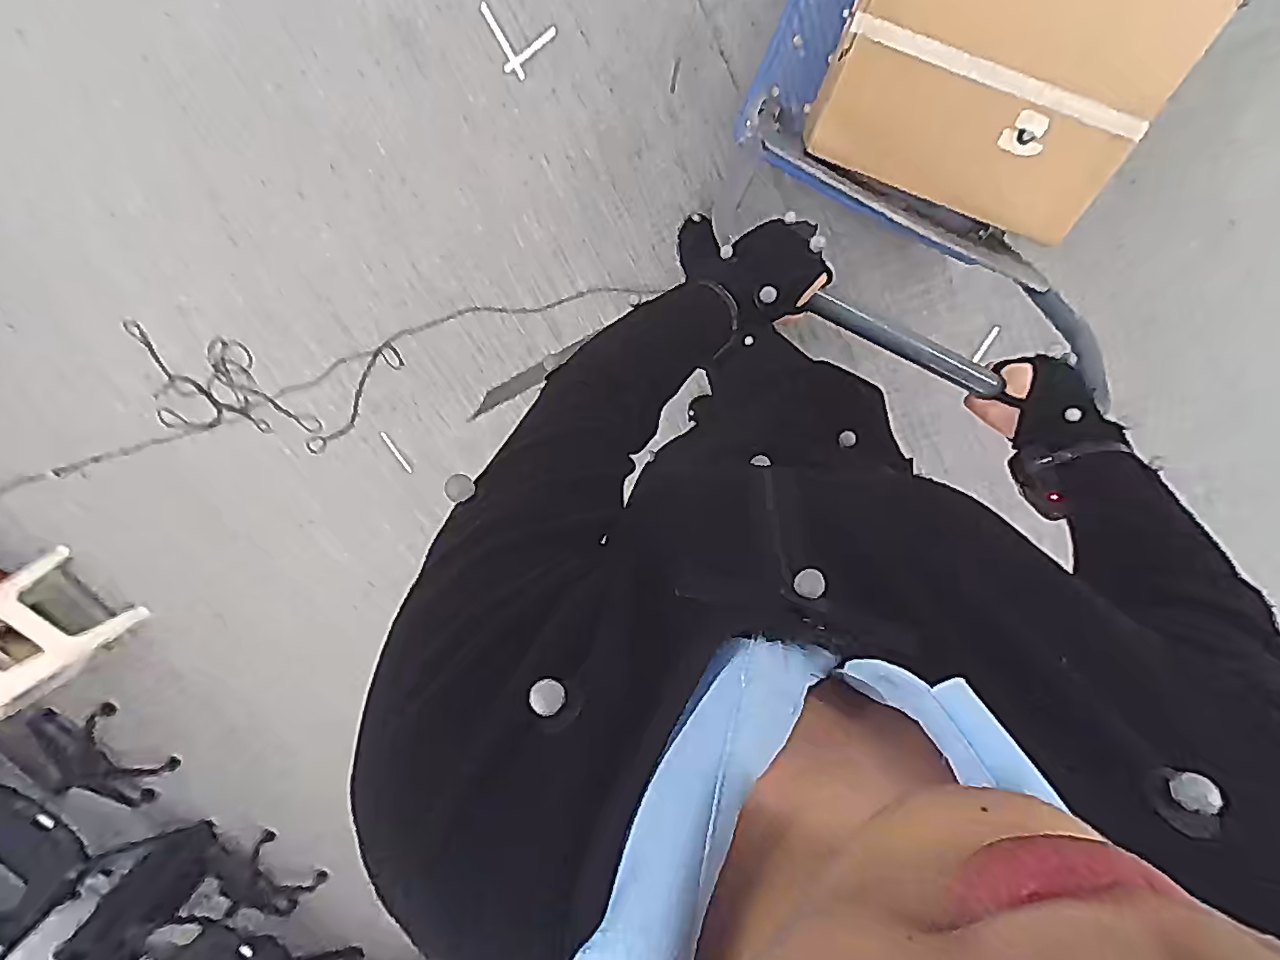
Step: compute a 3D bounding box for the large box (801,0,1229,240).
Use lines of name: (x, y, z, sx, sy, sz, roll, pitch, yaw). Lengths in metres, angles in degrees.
large box: (0.507, -0.628, 0.843, 0.408, 0.320, 0.320, 21, 129, -2)
